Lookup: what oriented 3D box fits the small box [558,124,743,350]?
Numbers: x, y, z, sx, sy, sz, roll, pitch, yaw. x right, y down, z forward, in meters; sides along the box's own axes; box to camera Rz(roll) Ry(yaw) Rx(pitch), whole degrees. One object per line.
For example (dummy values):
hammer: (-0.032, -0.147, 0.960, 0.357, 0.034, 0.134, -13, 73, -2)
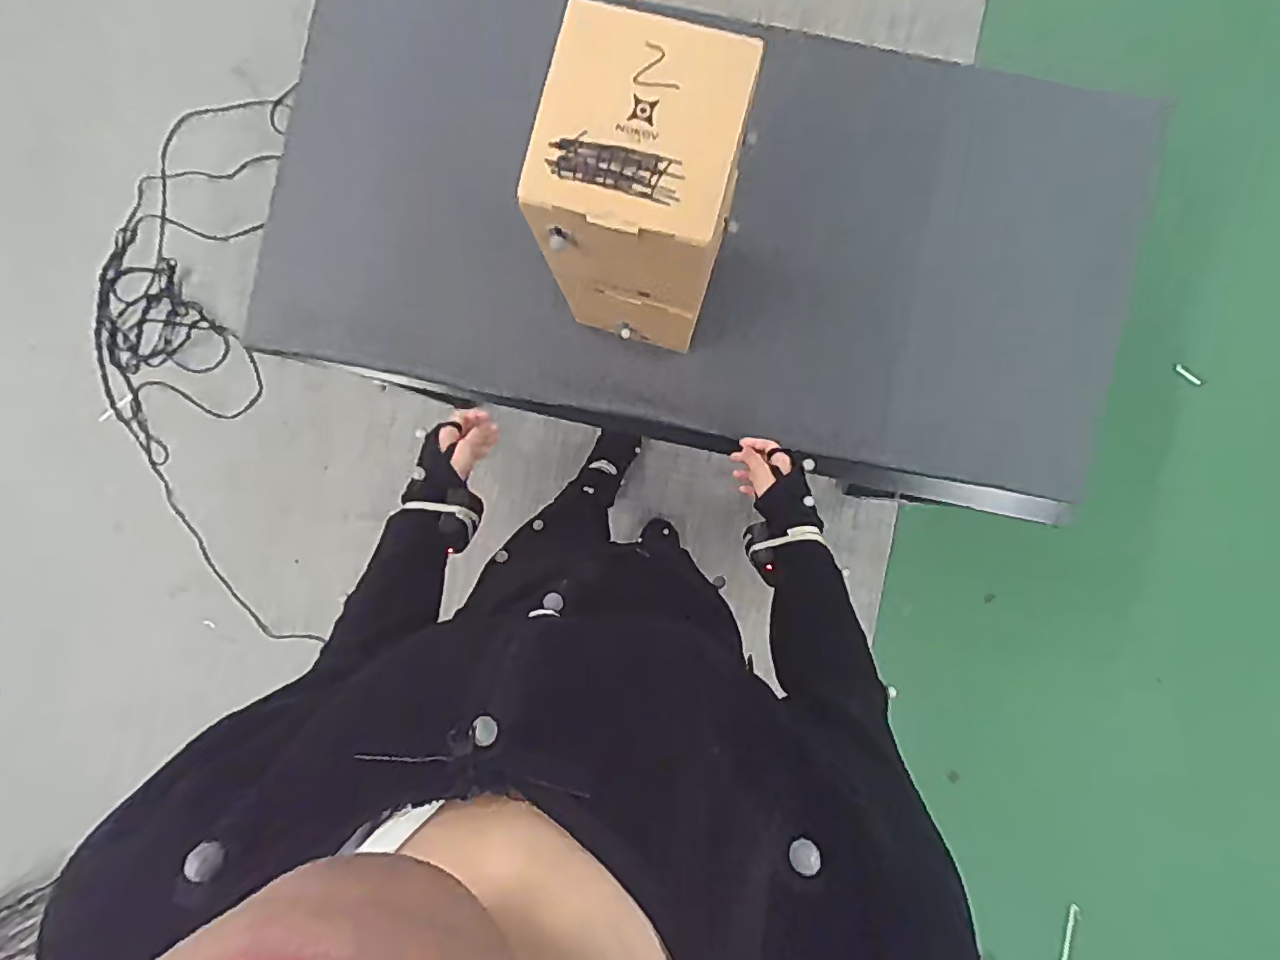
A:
small box: (0.013, -0.284, 0.669, 0.168, 0.176, 0.179, 17, 90, 3)
